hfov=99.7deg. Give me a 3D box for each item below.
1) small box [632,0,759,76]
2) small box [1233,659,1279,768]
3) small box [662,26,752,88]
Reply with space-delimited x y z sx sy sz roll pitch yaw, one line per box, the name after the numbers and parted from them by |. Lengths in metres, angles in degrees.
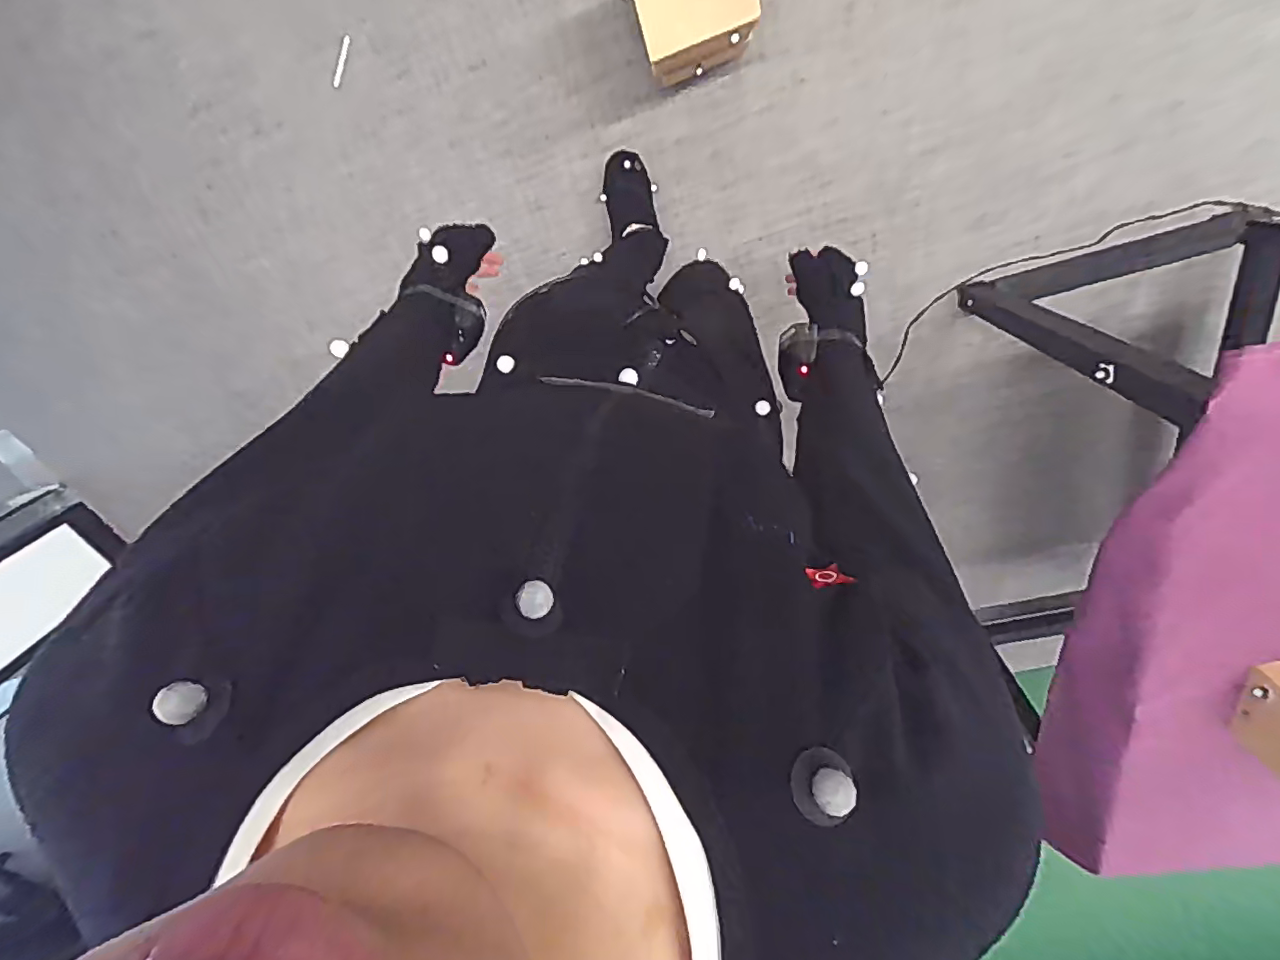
0.076 -0.770 0.850 0.179 0.176 0.168 -16 119 11 | small box
1.086 0.381 0.823 0.179 0.176 0.168 -13 119 10 | small box
0.097 -0.855 0.991 0.168 0.176 0.179 -15 120 12 | small box
